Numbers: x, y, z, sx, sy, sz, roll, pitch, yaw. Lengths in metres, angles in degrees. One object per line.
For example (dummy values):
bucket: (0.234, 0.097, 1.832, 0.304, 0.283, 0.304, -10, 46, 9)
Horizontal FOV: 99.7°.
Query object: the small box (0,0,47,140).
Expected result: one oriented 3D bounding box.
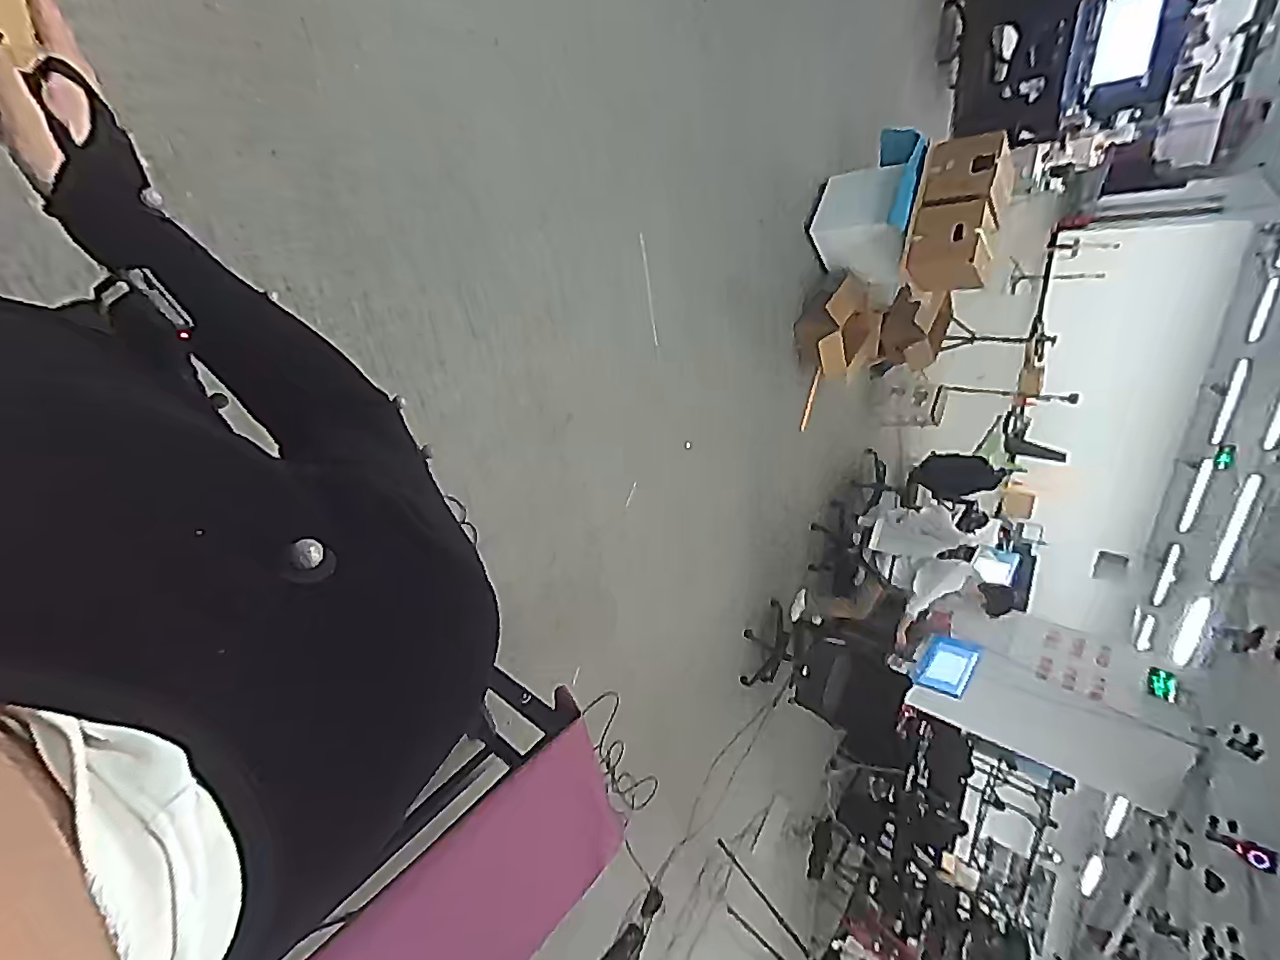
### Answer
small box: (-0.562, -0.392, 0.393, 0.168, 0.176, 0.179, -7, 100, -46)
